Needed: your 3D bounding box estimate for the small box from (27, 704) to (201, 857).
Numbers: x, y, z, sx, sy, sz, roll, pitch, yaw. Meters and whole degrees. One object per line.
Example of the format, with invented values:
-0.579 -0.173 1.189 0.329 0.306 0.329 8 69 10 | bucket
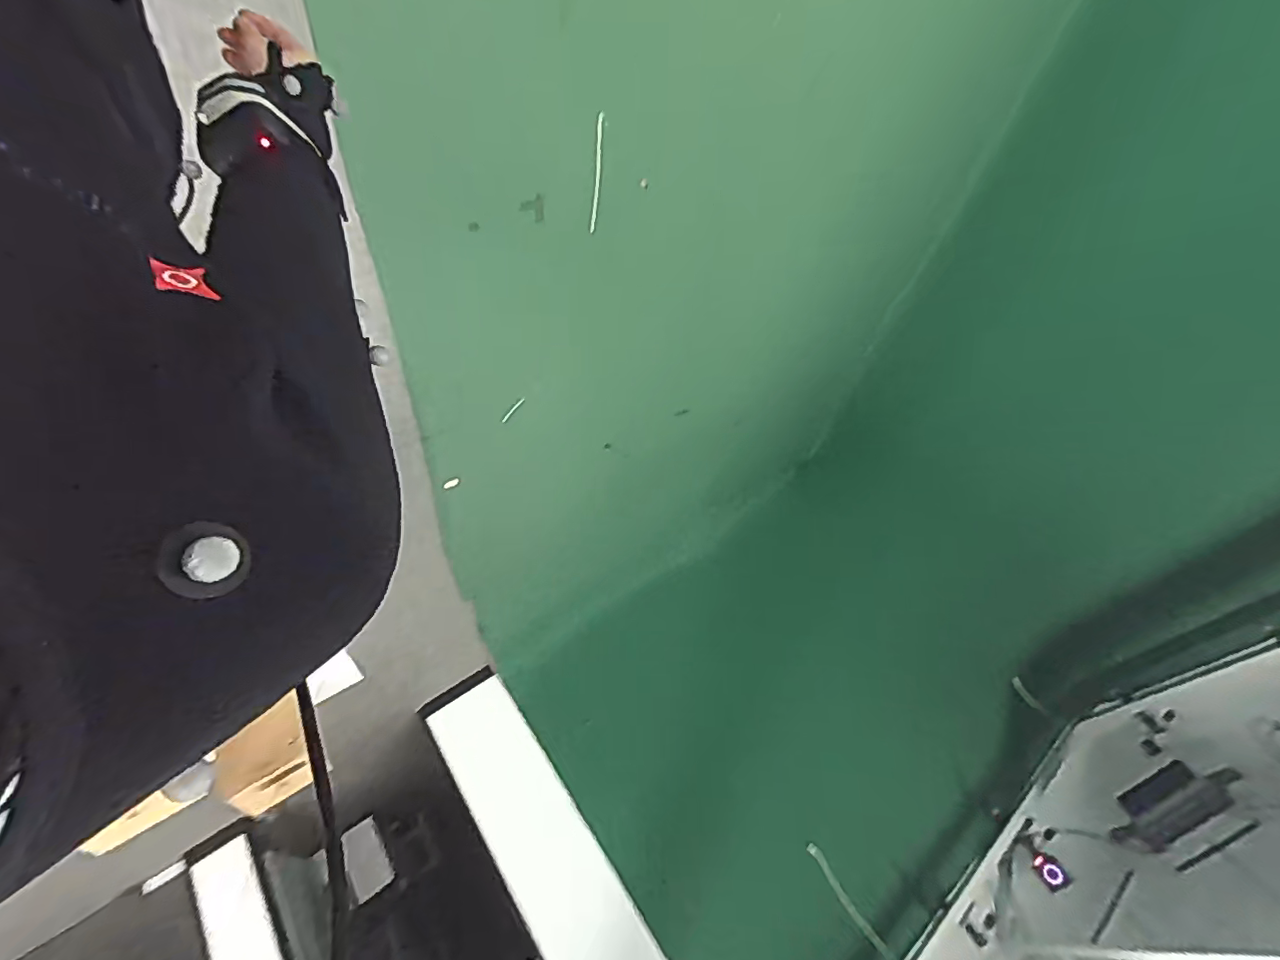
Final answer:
-0.948 0.540 0.983 0.168 0.176 0.179 -26 150 -29 | small box
